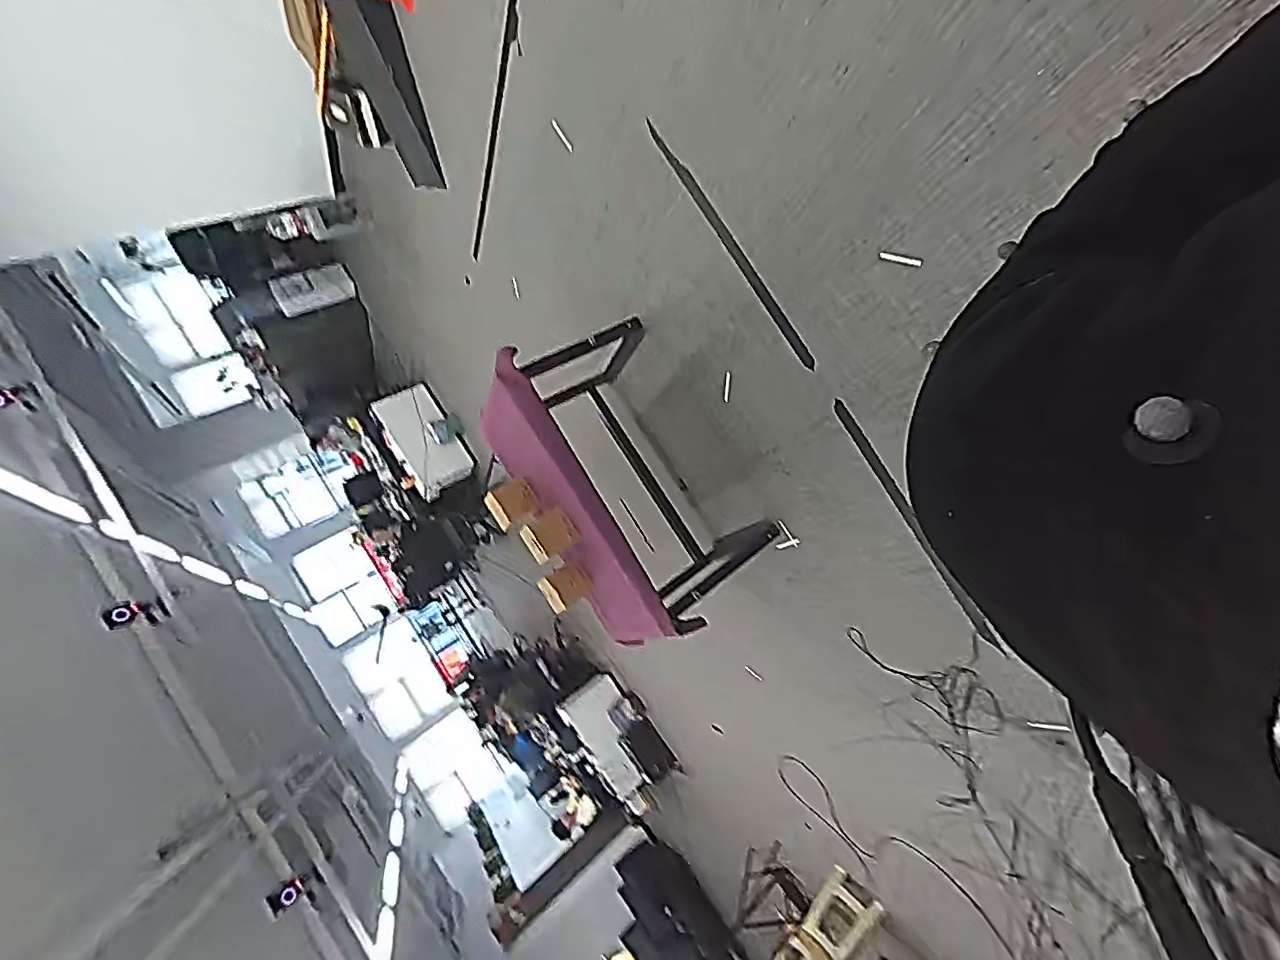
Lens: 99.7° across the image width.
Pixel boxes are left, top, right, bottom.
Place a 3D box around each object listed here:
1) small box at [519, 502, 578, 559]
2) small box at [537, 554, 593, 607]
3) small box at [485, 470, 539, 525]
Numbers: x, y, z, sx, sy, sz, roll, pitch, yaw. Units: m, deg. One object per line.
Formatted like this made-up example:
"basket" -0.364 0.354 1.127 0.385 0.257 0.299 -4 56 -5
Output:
"small box" -0.383 0.211 2.284 0.168 0.176 0.179 57 153 2
"small box" -0.337 0.453 2.443 0.168 0.176 0.179 57 150 3
"small box" -0.585 0.081 2.474 0.168 0.176 0.179 56 151 2
